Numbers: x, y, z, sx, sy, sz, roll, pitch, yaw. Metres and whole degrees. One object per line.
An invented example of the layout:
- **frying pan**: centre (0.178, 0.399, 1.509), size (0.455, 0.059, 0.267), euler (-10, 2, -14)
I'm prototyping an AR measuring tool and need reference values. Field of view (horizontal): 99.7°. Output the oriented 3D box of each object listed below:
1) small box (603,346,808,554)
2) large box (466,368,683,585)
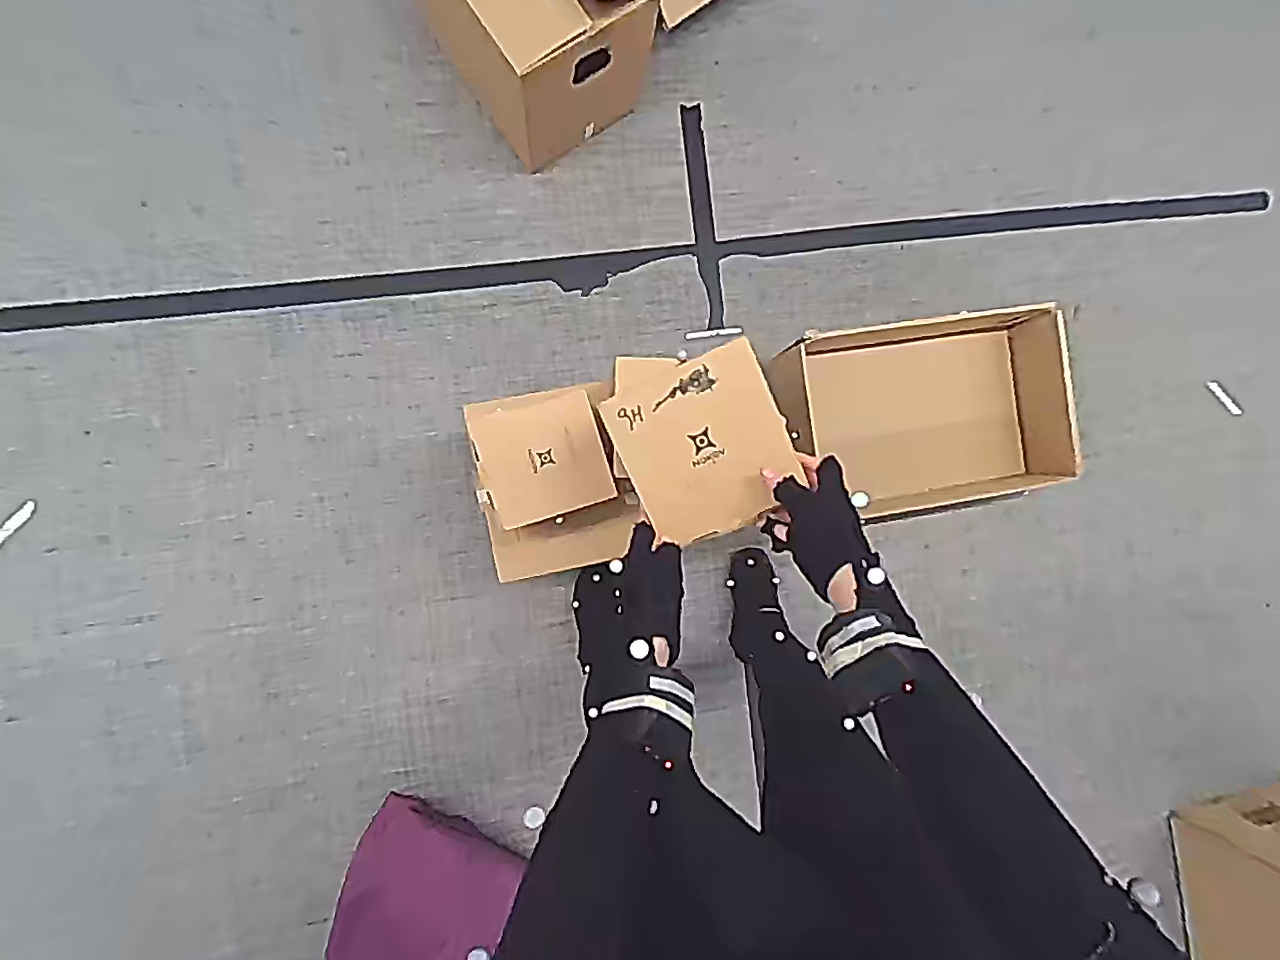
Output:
- **small box**: centre (0.073, -0.043, 0.632), size (0.168, 0.176, 0.179), euler (-23, 99, 7)
- **large box**: centre (-0.097, -0.007, 1.097), size (0.408, 0.320, 0.320), euler (-12, 92, -8)
